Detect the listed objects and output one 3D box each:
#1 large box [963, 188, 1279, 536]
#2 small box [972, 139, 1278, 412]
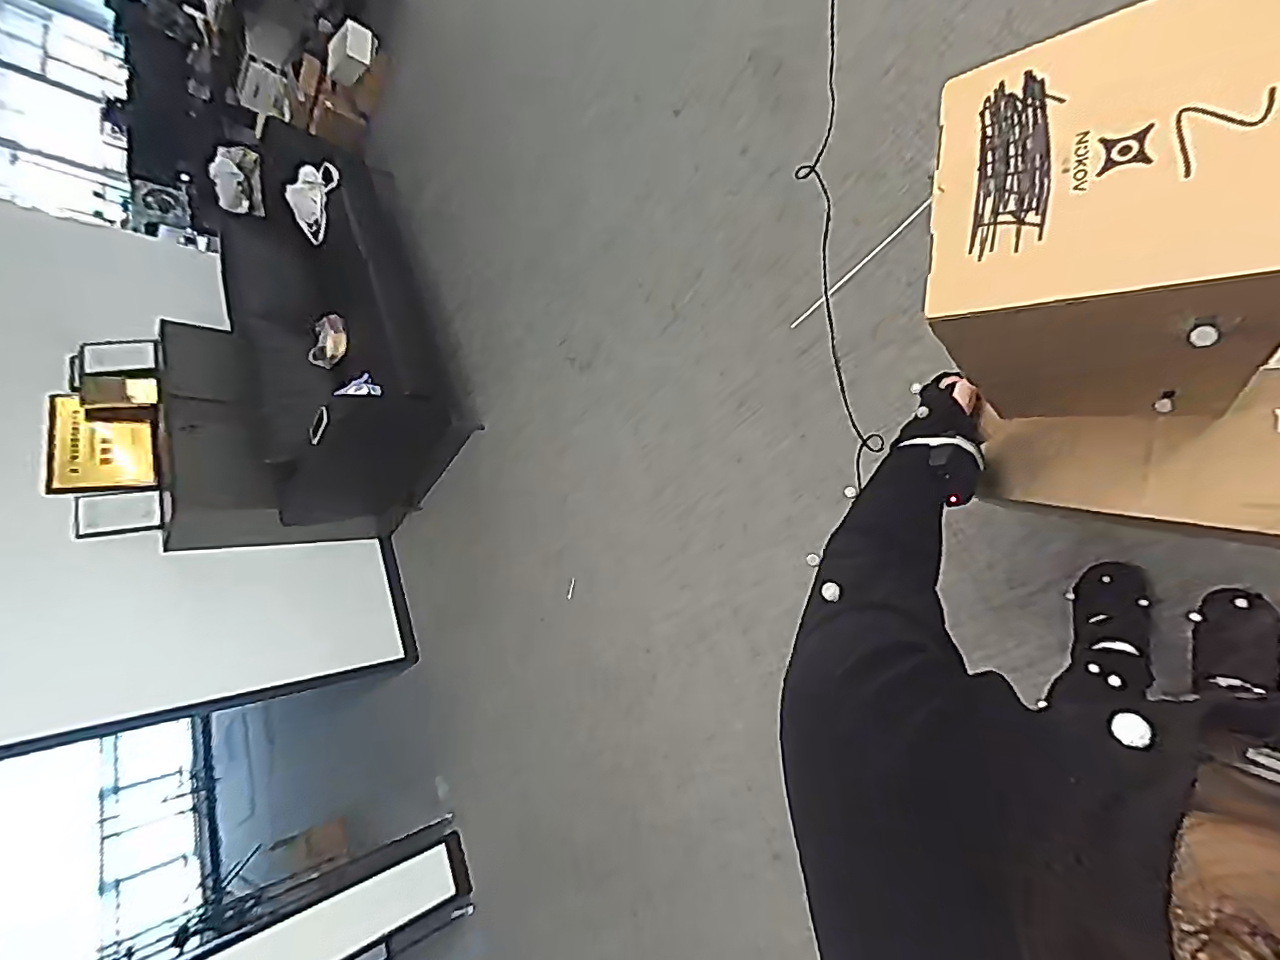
[{"bbox_3d":[0.644,-0.106,0.621,0.408,0.320,0.320,10,92,41],"label":"large box"},{"bbox_3d":[0.426,-0.159,0.493,0.179,0.176,0.168,5,87,42],"label":"small box"}]
